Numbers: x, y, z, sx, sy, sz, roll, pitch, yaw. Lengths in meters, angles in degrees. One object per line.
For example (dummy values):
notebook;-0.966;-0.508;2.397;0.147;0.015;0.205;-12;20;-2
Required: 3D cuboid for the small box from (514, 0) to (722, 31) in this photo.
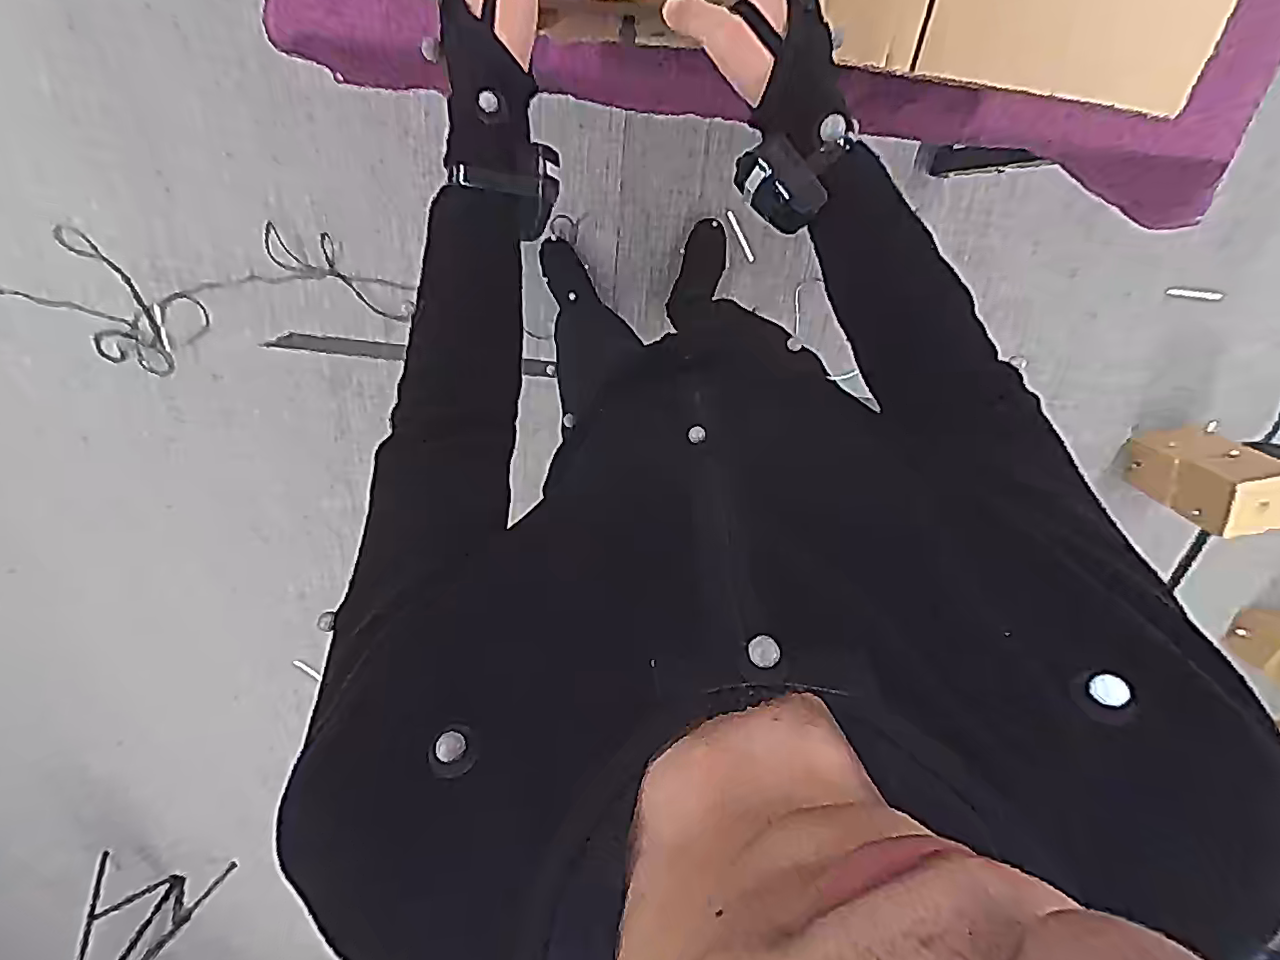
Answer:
small box;-0.013;-0.469;0.416;0.168;0.176;0.179;2;120;4
